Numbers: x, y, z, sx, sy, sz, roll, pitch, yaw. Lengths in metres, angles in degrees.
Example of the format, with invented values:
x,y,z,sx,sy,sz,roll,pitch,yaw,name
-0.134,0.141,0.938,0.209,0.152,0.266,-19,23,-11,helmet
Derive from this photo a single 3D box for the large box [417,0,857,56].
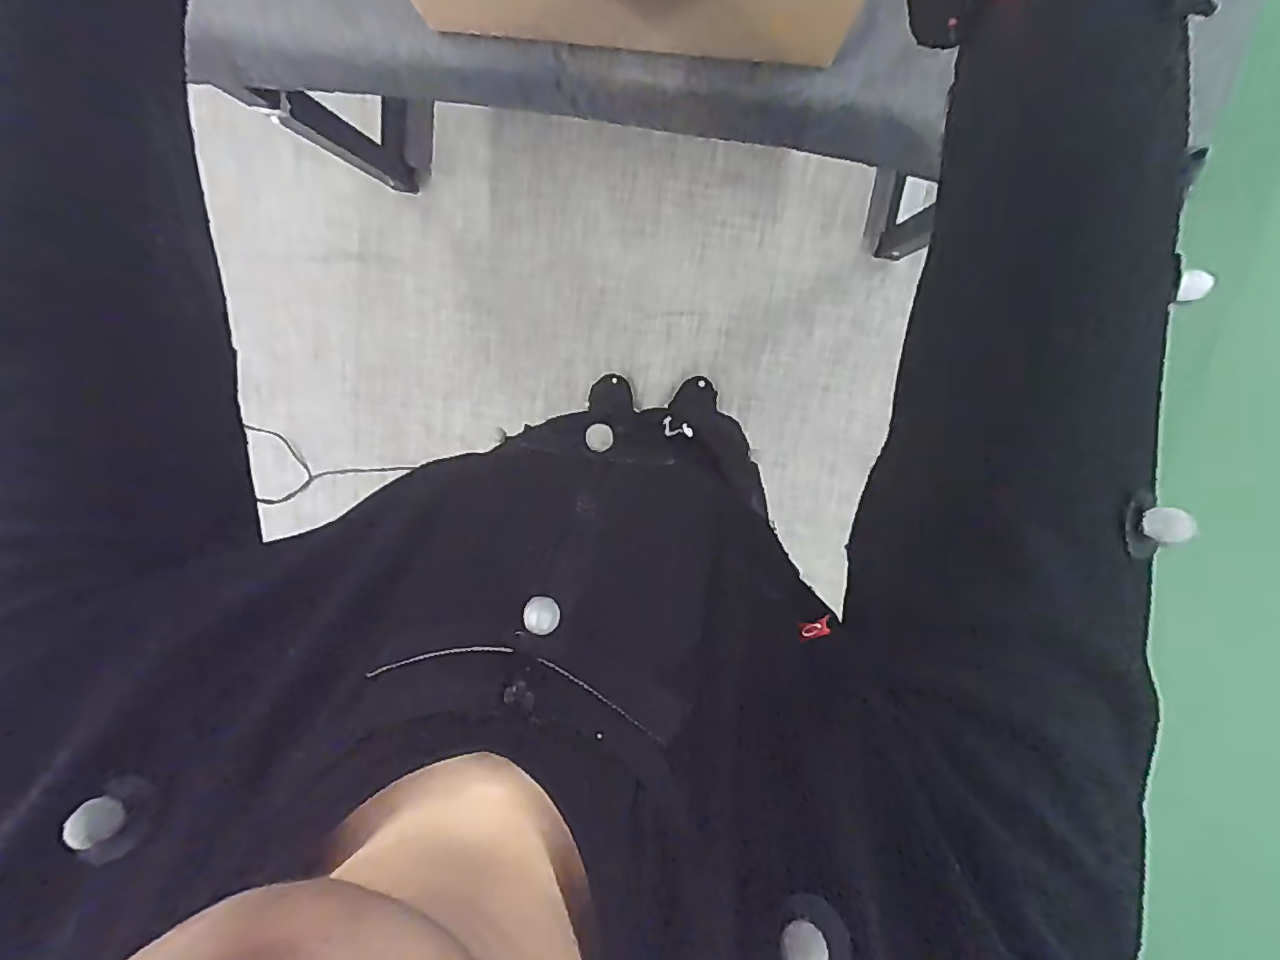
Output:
x,y,z,sx,sy,sz,roll,pitch,yaw,name
-0.004,-0.550,0.362,0.408,0.320,0.320,6,102,1,large box
